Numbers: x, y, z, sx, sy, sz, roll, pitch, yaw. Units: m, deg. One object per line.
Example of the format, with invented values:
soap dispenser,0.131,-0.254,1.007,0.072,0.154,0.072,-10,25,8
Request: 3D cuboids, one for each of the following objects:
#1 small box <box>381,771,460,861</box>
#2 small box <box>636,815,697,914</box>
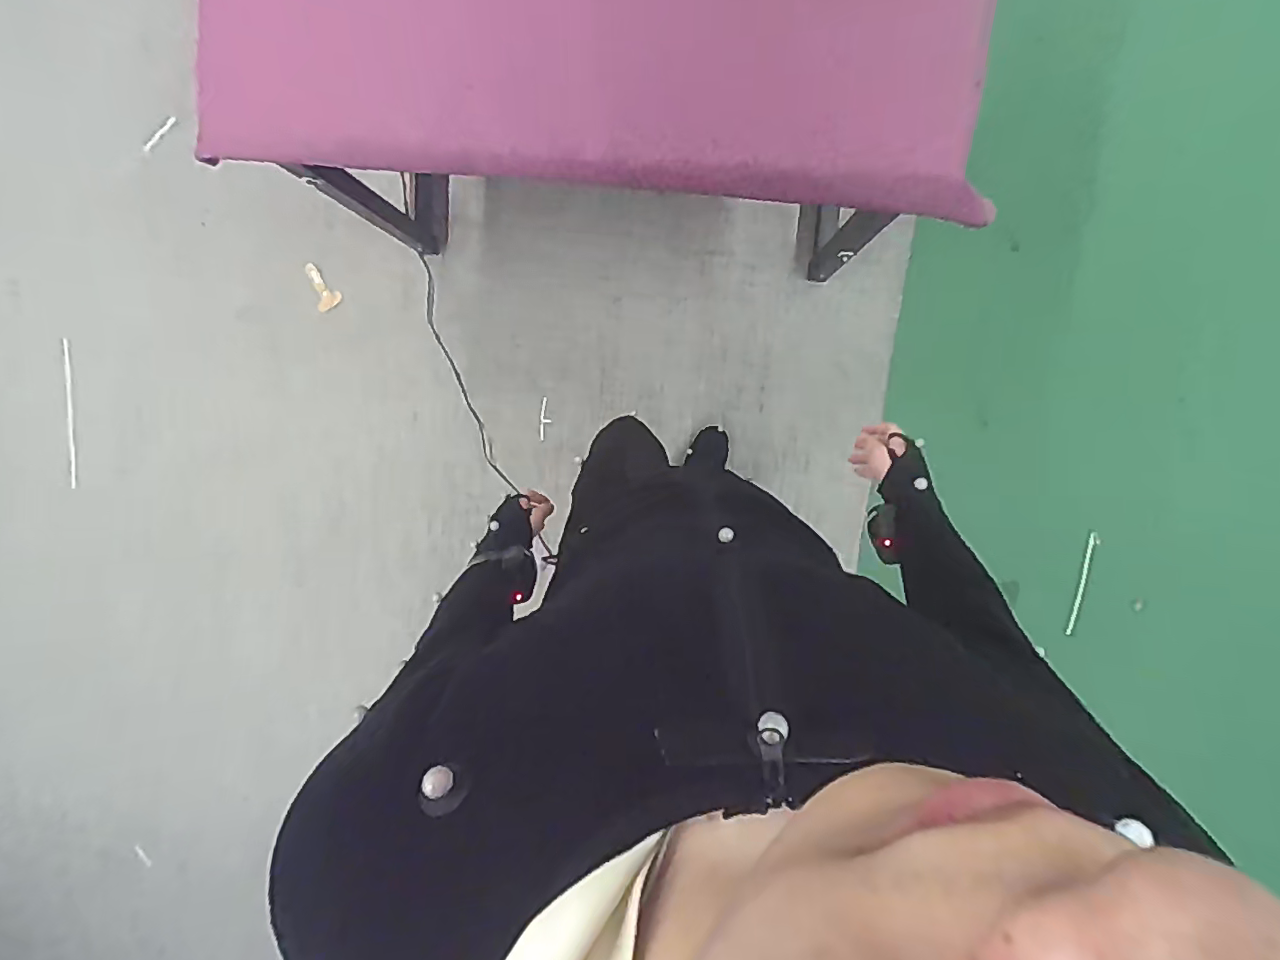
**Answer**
small box,-0.696,1.068,1.731,0.179,0.176,0.168,10,98,3
small box,0.085,1.199,1.693,0.168,0.176,0.179,8,99,2
